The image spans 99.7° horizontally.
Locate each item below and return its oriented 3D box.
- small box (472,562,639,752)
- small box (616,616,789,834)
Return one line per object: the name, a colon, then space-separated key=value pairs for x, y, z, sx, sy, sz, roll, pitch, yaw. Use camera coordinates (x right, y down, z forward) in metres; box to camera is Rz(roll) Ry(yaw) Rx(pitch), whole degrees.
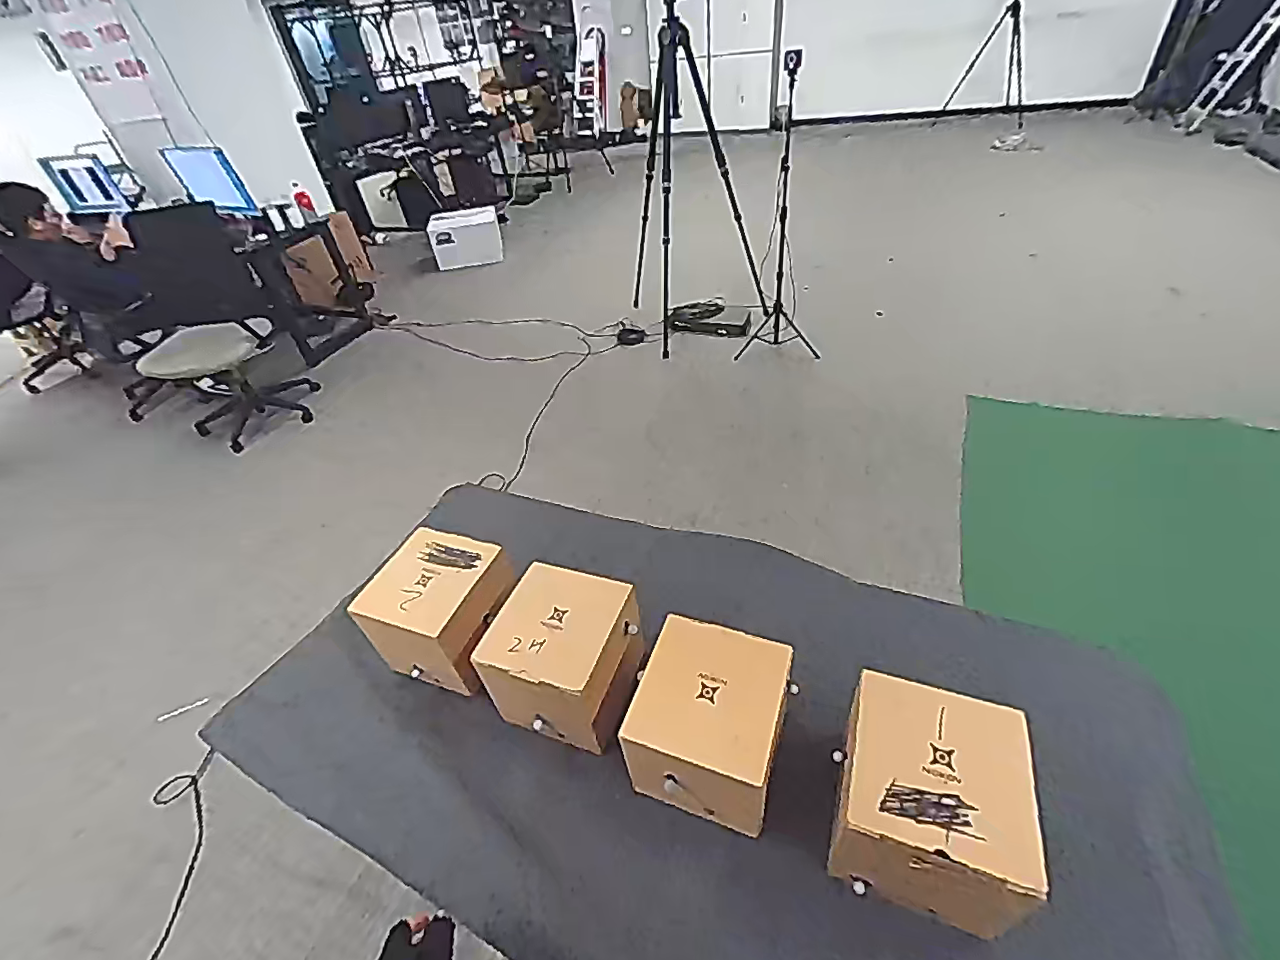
small box: x=-0.108 y=0.253 z=0.784 sx=0.168 sy=0.176 sz=0.179 roll=10 pitch=43 yaw=20
small box: x=0.088 y=0.310 z=0.689 sx=0.168 sy=0.176 sz=0.179 roll=10 pitch=43 yaw=20
